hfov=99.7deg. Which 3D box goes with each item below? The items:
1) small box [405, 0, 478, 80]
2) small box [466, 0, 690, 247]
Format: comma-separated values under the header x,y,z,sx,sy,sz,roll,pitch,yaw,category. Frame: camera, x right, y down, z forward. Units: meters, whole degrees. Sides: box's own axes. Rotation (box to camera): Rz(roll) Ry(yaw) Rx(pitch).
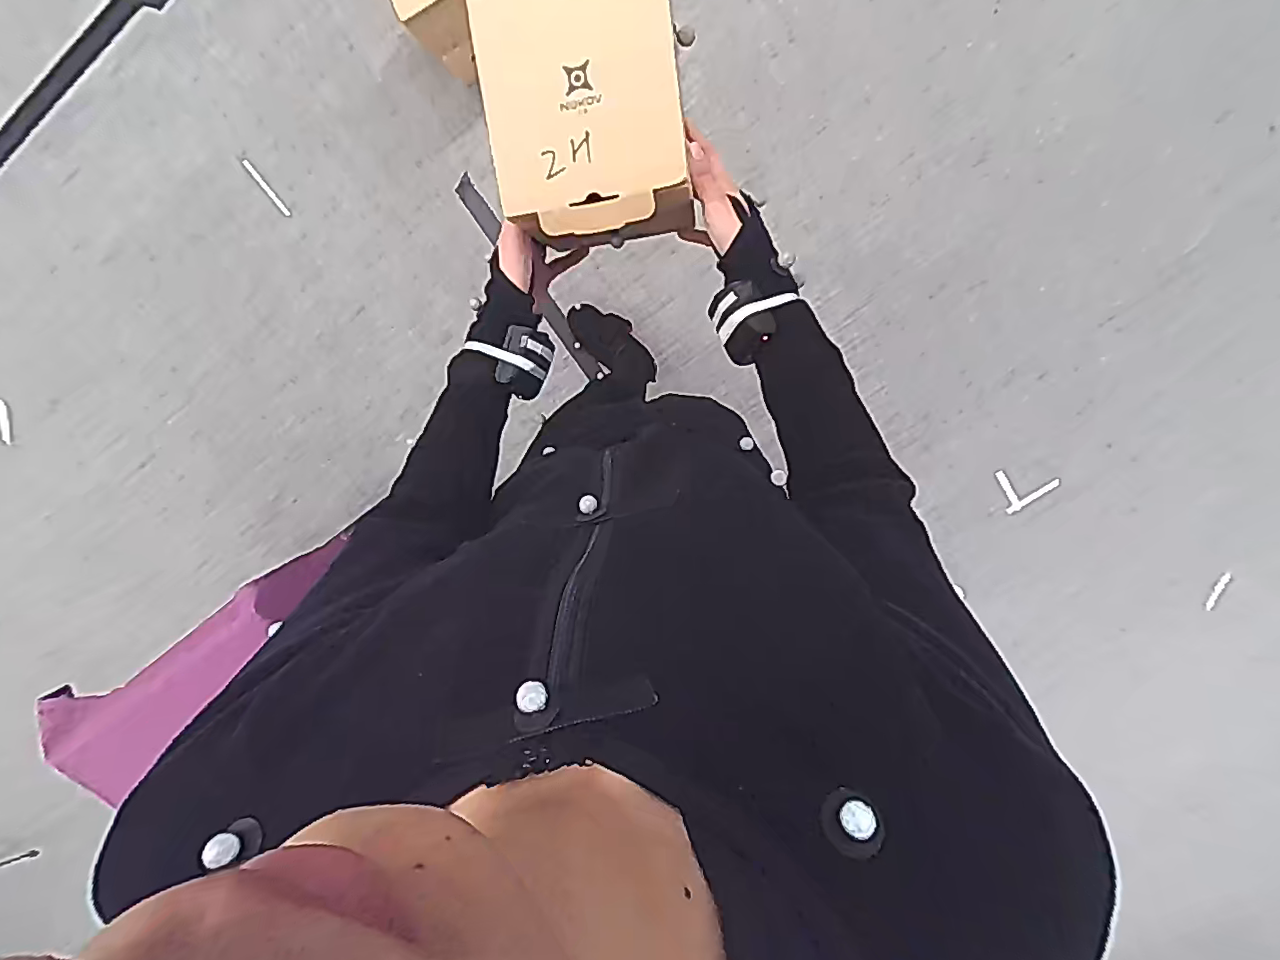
x,y,z,sx,sy,sz,roll,pitch,yaw,category
-0.399,-1.034,1.201,0.168,0.176,0.179,-30,107,9,small box
-0.043,-0.343,0.522,0.168,0.176,0.179,-6,103,10,small box
